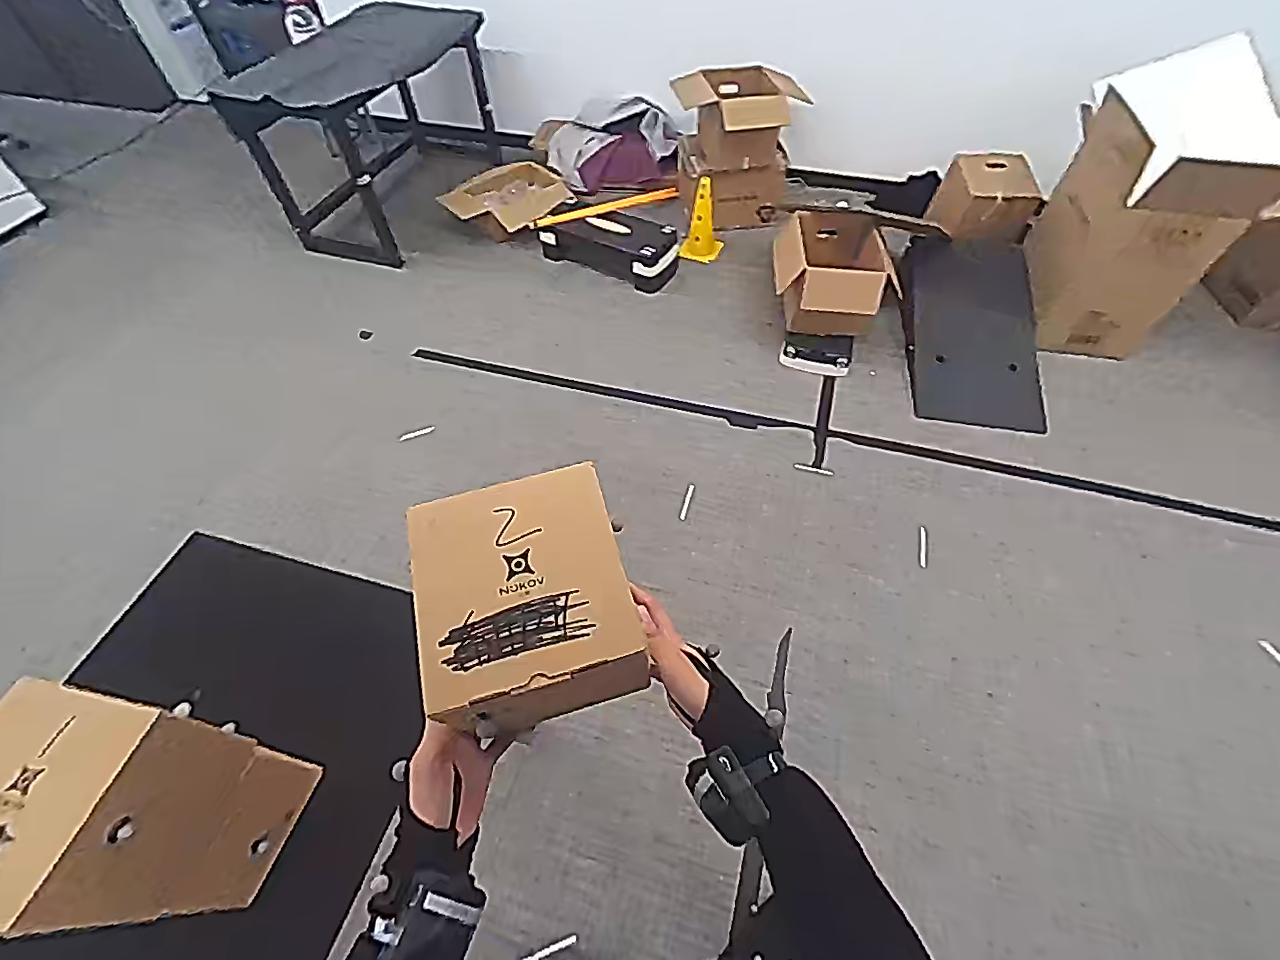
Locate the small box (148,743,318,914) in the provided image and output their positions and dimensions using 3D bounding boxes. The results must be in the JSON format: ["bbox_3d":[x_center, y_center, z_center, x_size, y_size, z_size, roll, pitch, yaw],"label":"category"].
[{"bbox_3d":[-0.565,0.420,0.687,0.179,0.176,0.168,13,56,10],"label":"small box"}]

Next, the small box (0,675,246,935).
[{"bbox_3d":[-0.561,0.326,0.552,0.168,0.176,0.179,10,54,7],"label":"small box"}]
